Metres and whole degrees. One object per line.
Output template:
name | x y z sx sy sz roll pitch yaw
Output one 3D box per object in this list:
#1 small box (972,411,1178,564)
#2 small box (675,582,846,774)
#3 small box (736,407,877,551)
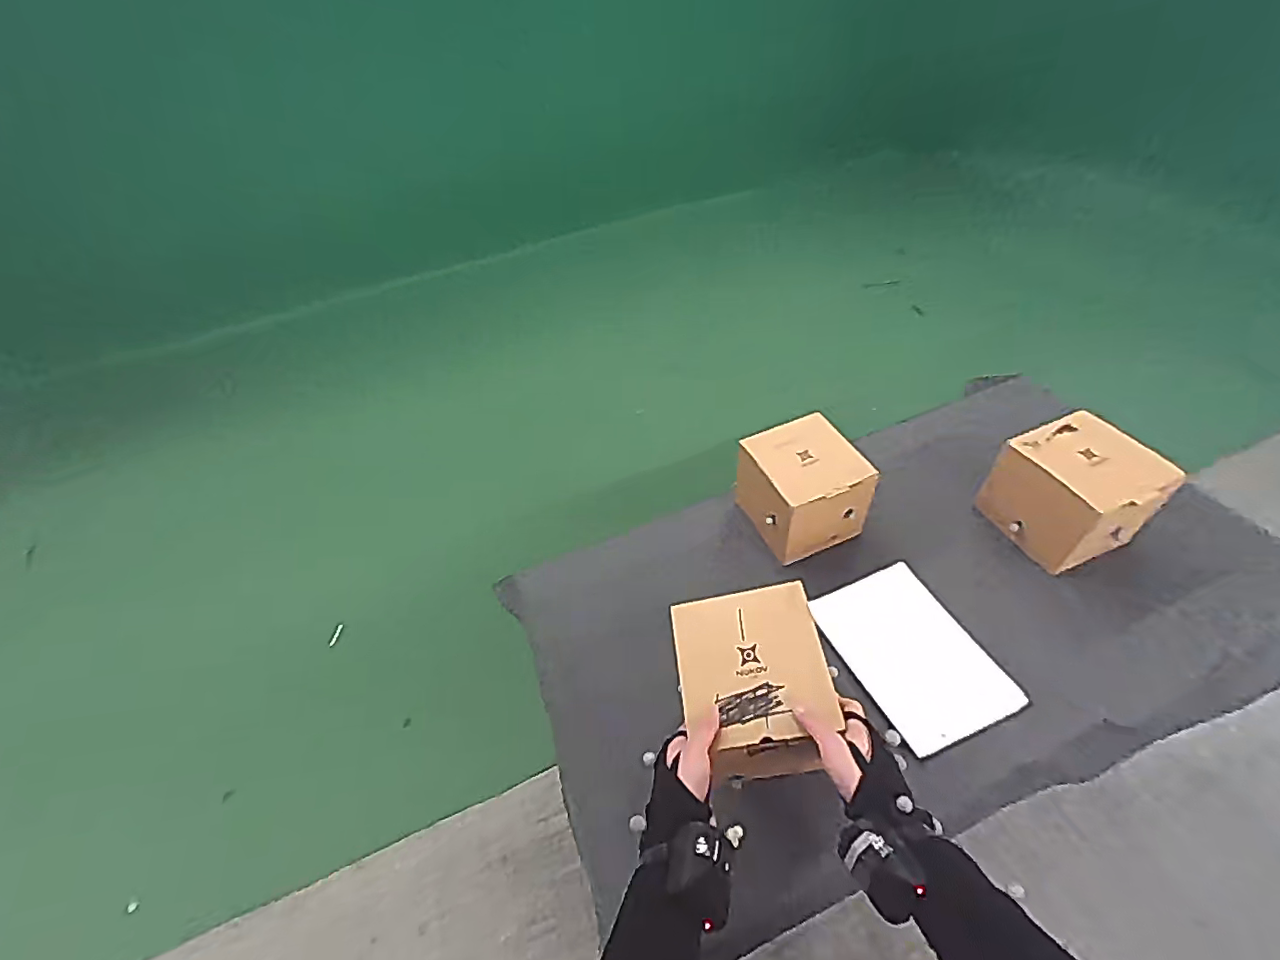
small box | 0.713 0.020 0.912 0.168 0.176 0.179 -20 50 -10
small box | 0.148 0.254 0.674 0.168 0.176 0.179 -13 51 9
small box | 0.284 0.005 0.965 0.168 0.176 0.179 -21 49 -12
